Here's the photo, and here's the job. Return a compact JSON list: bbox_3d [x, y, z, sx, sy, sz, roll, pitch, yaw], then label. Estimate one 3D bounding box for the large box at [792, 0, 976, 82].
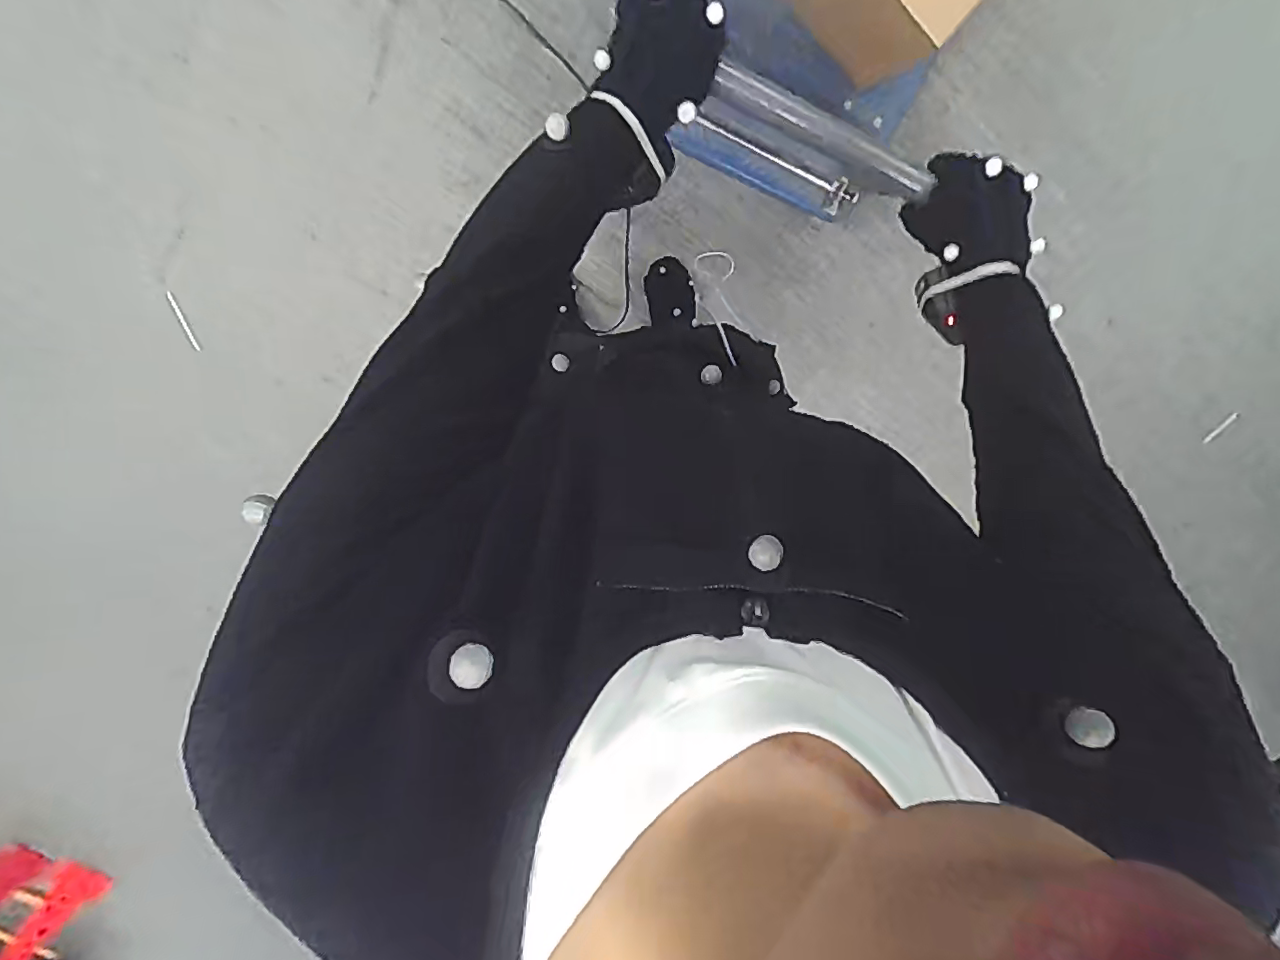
[{"bbox_3d":[0.367,-0.898,0.790,0.408,0.320,0.320,37,111,-15],"label":"large box"}]
